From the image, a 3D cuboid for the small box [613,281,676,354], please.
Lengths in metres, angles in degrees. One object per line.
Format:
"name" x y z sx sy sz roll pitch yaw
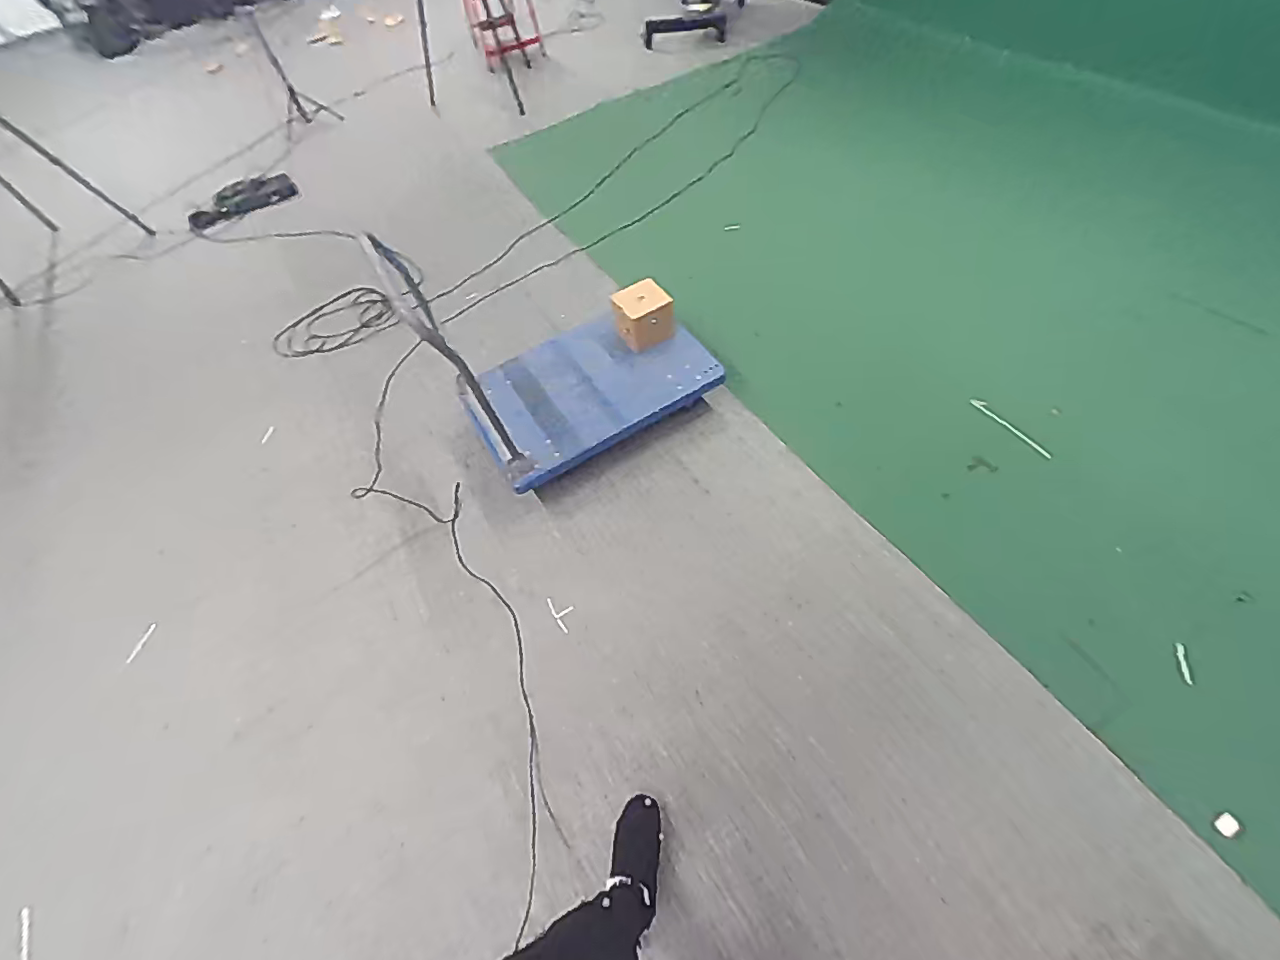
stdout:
"small box" 0.021 -0.606 2.034 0.179 0.176 0.168 -28 58 -11
